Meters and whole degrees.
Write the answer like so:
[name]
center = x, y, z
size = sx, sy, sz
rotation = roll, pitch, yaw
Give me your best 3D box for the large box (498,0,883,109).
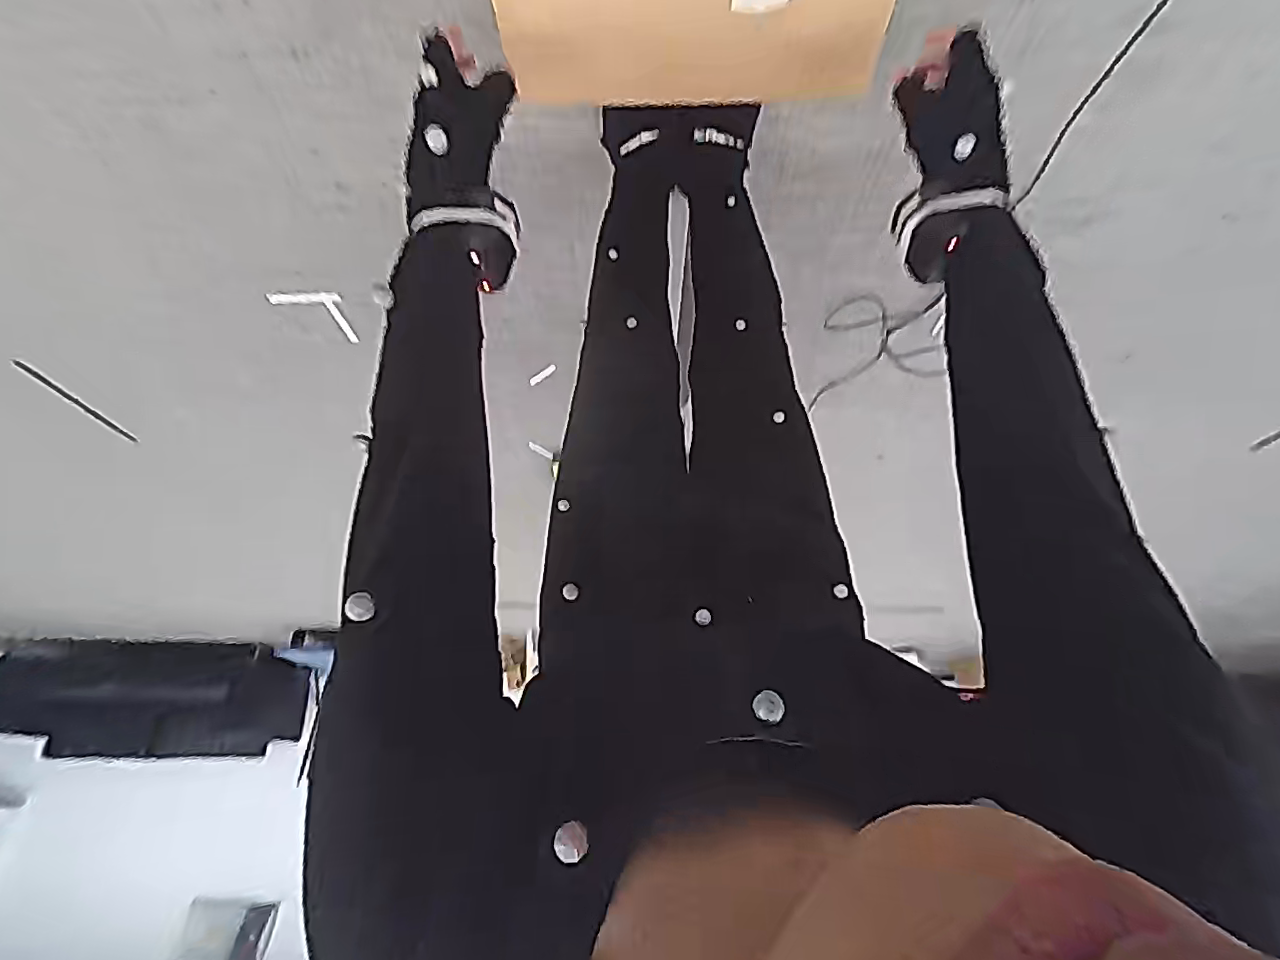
[large box]
center = 0.047, -0.650, 0.577
size = 0.408, 0.320, 0.320
rotation = -1, 150, 2
